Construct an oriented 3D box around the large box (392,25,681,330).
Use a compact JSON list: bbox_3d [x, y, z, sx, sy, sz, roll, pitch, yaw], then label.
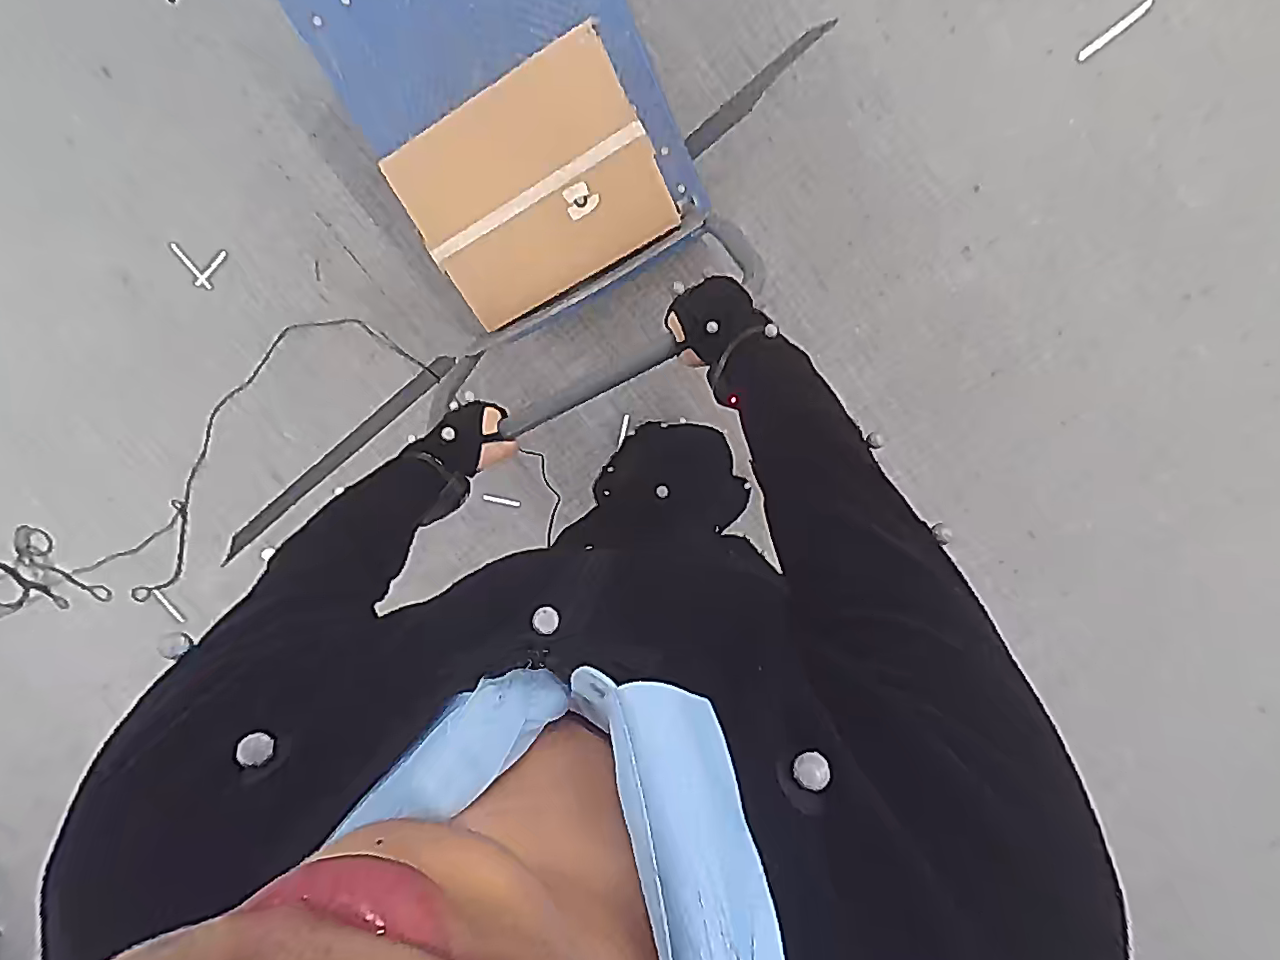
[{"bbox_3d":[-0.176,-0.549,1.050,0.408,0.320,0.320,-26,115,11],"label":"large box"}]
